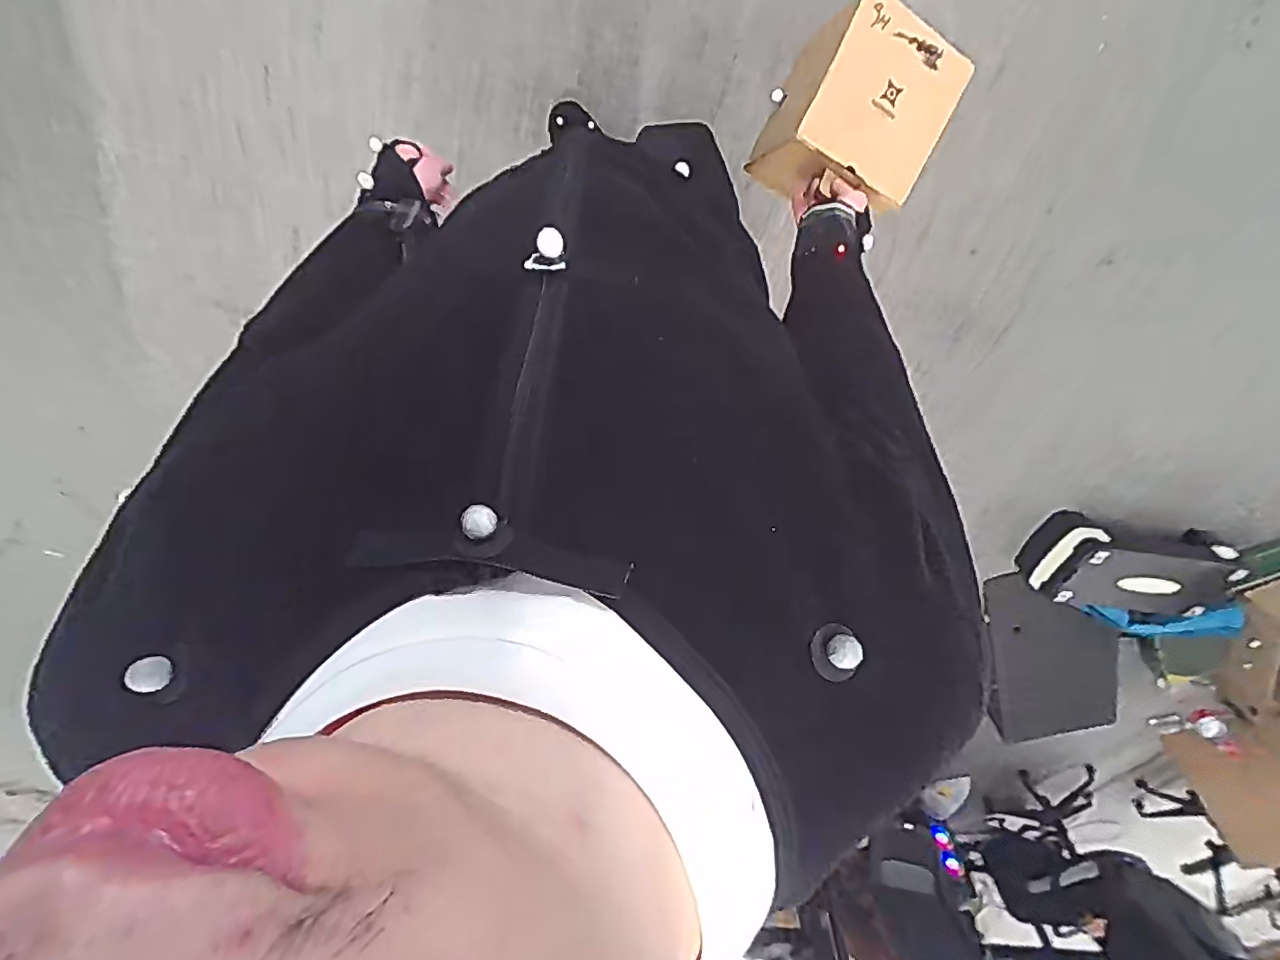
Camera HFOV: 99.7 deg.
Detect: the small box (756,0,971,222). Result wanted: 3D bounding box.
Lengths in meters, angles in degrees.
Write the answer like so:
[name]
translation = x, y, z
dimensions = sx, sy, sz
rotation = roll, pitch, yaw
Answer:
[small box]
translation = 0.275, -0.468, 0.712
dimensions = 0.168, 0.176, 0.179
rotation = 21, 101, -16
